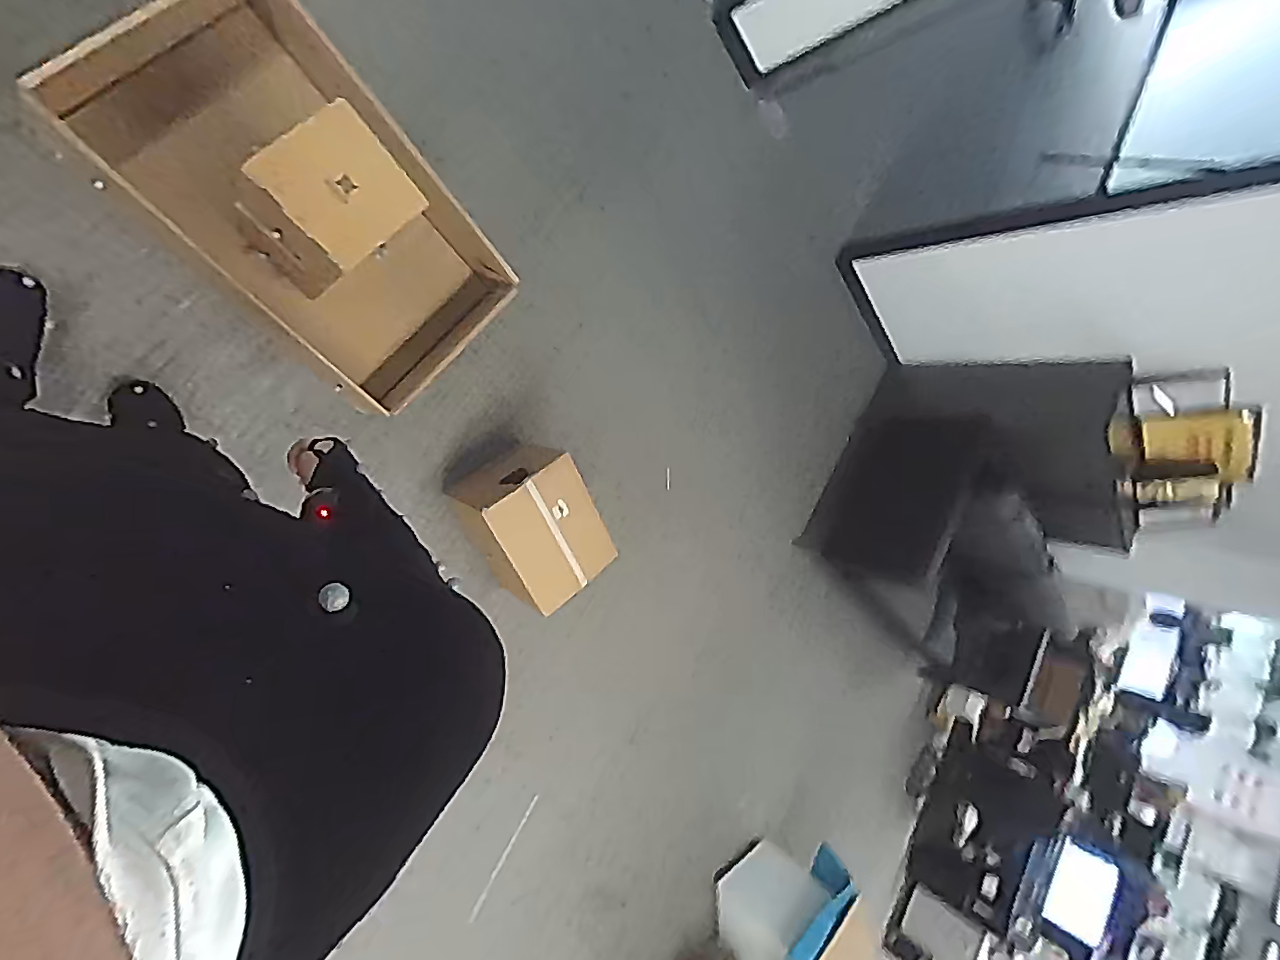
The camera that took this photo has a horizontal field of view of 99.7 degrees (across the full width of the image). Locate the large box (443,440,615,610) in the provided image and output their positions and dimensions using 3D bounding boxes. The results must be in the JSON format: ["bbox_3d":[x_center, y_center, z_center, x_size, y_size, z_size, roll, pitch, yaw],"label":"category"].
[{"bbox_3d":[-0.346,0.130,1.710,0.320,0.320,0.408,-39,120,-28],"label":"large box"}]

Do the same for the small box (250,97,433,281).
[{"bbox_3d":[-0.460,-0.432,0.828,0.179,0.176,0.168,-52,125,-18],"label":"small box"}]
